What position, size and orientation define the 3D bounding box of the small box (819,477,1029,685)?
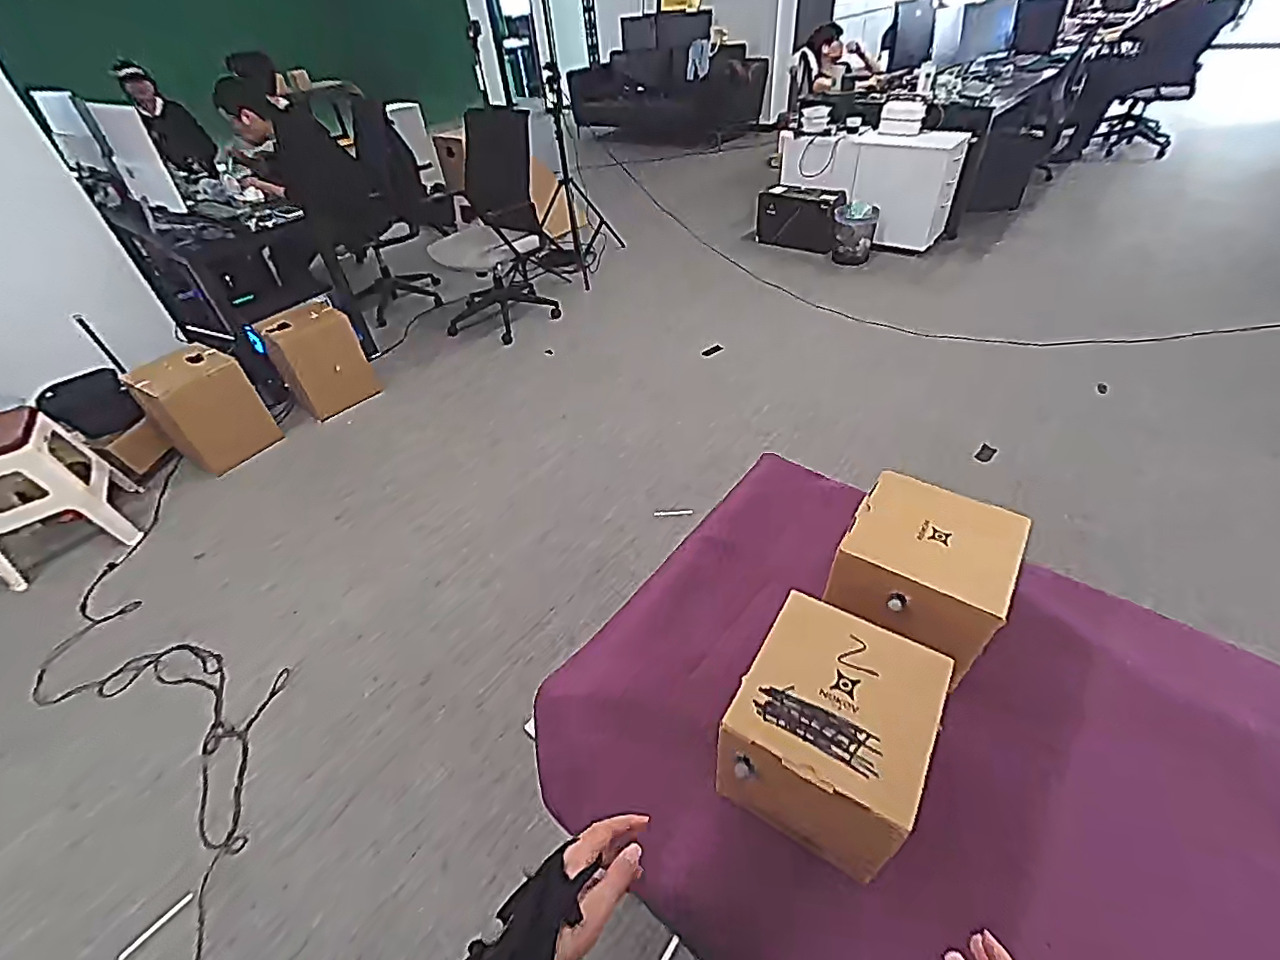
[{"bbox_3d":[0.351,0.131,0.690,0.179,0.176,0.168,23,49,28],"label":"small box"}]
